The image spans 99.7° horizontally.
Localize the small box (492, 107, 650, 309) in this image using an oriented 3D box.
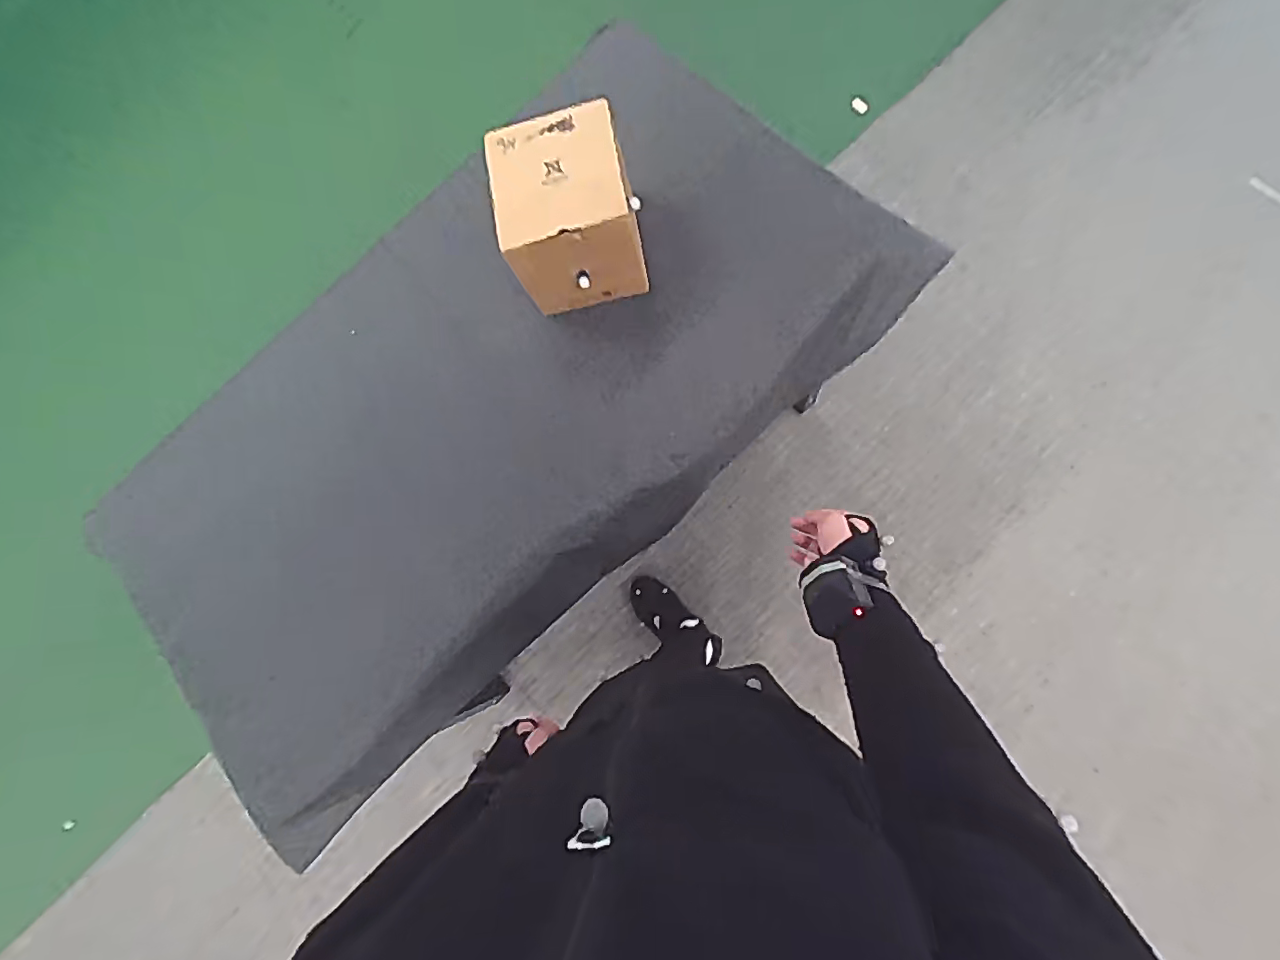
[{"bbox_3d":[-0.086,-0.357,0.749,0.168,0.176,0.179,-11,78,7],"label":"small box"}]
